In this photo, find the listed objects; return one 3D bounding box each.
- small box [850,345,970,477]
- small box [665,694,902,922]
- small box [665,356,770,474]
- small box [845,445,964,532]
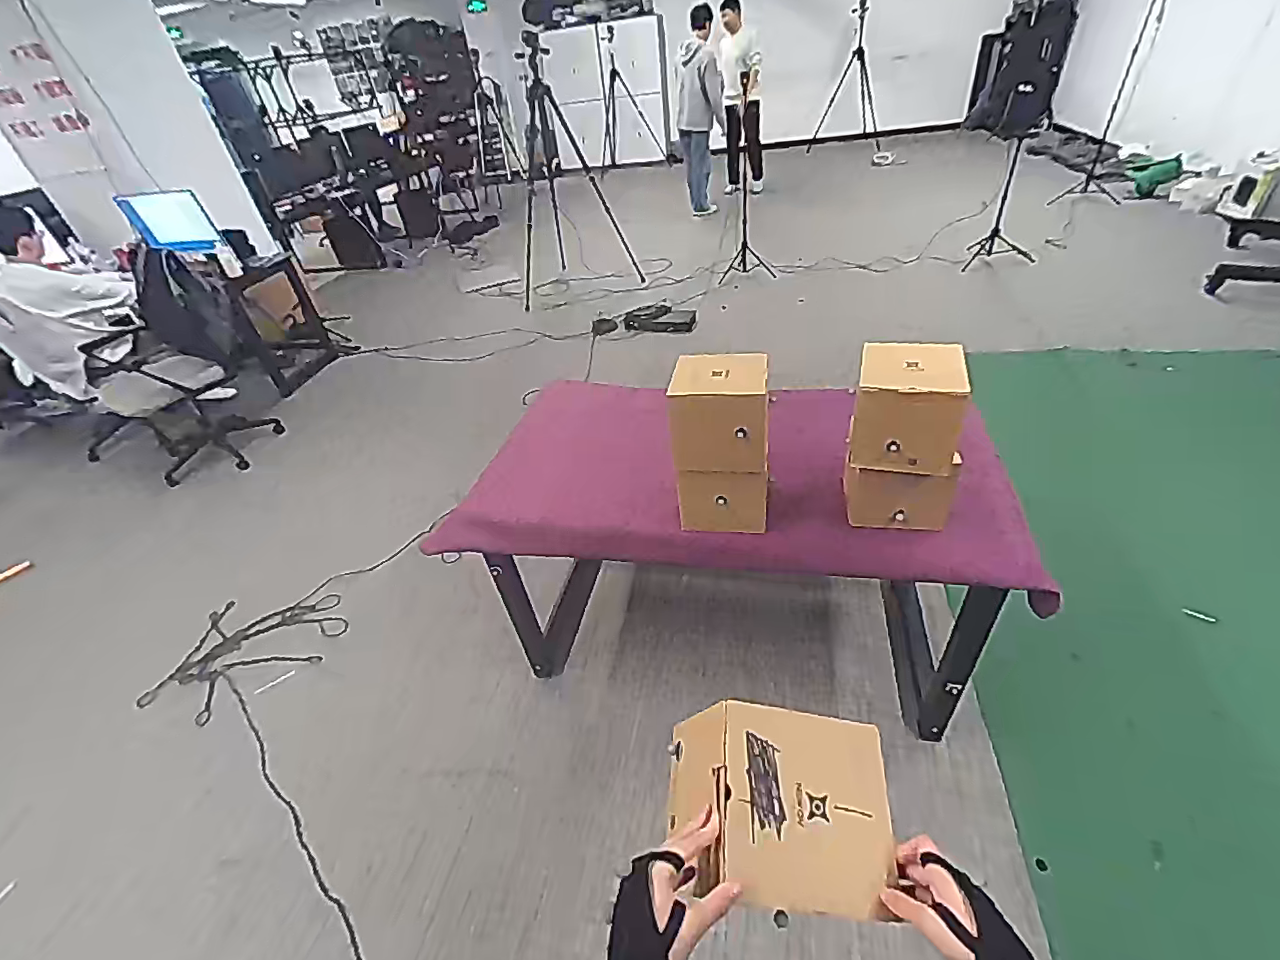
[{"bbox_3d":[0.478,-0.128,0.976,0.168,0.176,0.179,6,40,21],"label":"small box"},{"bbox_3d":[0.134,0.342,0.567,0.179,0.176,0.168,14,54,-9],"label":"small box"},{"bbox_3d":[0.156,-0.124,1.038,0.179,0.176,0.168,2,37,15],"label":"small box"},{"bbox_3d":[0.517,-0.011,1.085,0.179,0.176,0.168,2,37,14],"label":"small box"}]
